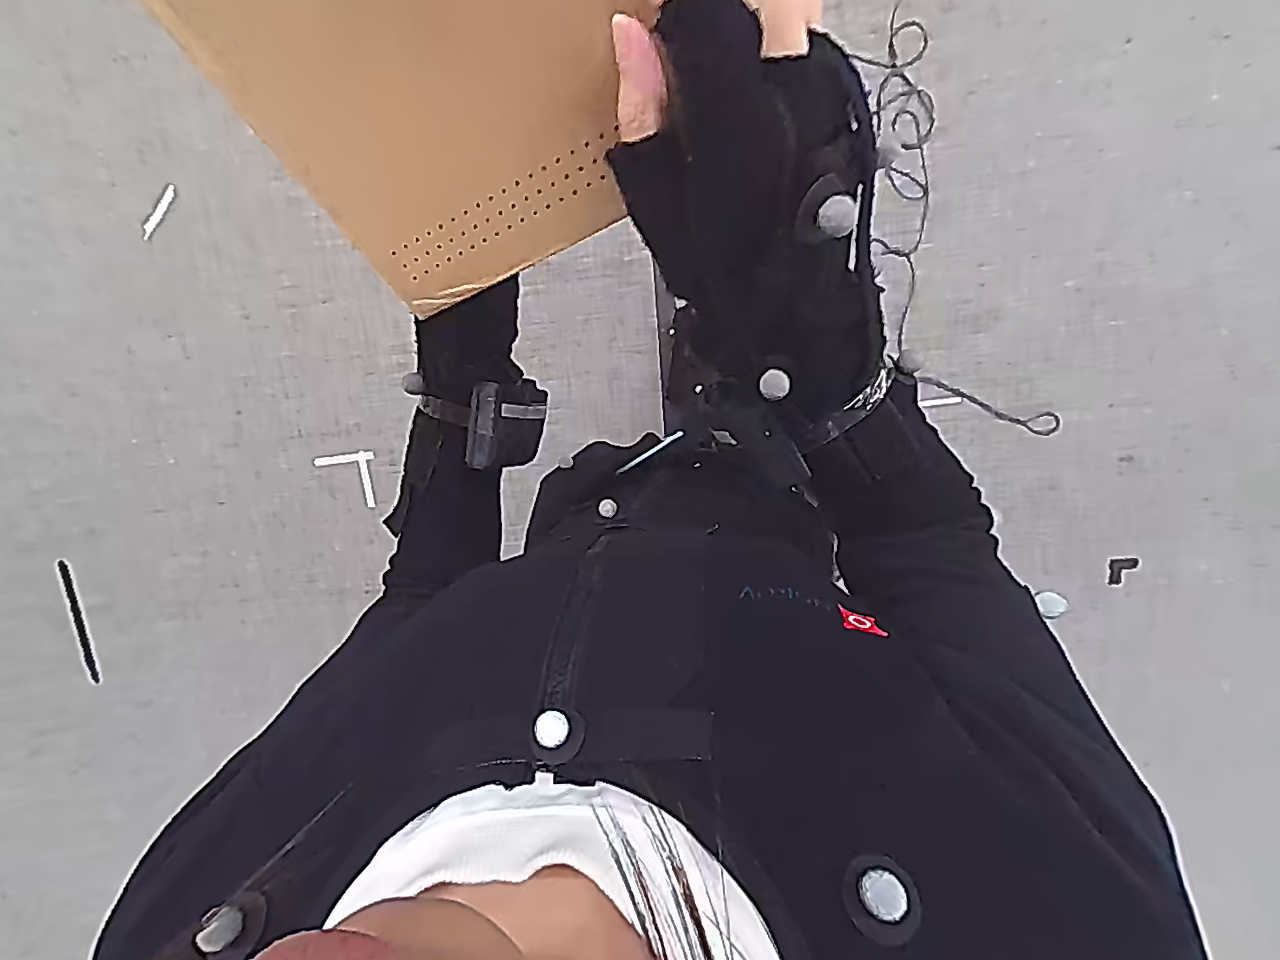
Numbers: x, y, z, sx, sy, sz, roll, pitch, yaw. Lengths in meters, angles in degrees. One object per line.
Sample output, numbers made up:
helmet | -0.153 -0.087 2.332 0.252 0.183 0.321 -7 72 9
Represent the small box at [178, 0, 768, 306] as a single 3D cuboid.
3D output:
small box | -0.061 -0.209 0.237 0.179 0.168 0.176 -18 137 19
